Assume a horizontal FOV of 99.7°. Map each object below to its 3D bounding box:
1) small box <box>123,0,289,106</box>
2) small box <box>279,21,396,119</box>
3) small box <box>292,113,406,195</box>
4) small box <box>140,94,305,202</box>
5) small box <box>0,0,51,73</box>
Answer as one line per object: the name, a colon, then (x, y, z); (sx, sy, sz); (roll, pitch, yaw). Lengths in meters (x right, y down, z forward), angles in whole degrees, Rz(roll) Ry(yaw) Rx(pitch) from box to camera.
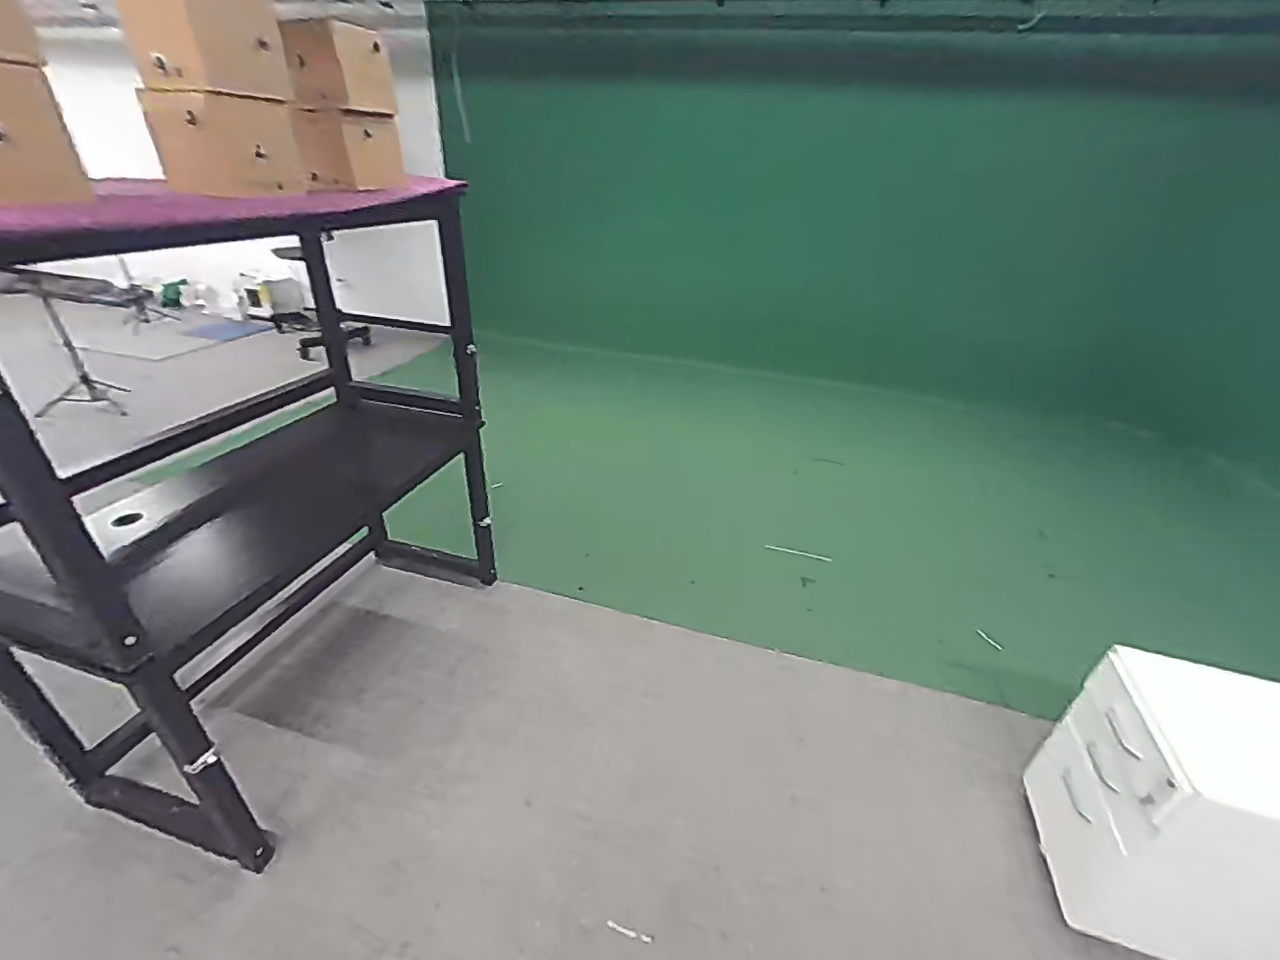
small box: (-0.778, -0.784, 0.983); (0.168, 0.176, 0.179); (11, 32, 15)
small box: (-0.707, -0.955, 1.278); (0.168, 0.176, 0.179); (10, 32, 15)
small box: (-0.724, -0.818, 1.366); (0.168, 0.176, 0.179); (13, 32, 19)
small box: (-0.801, -0.641, 1.058); (0.179, 0.176, 0.168); (12, 30, 15)
small box: (-0.882, -0.592, 0.636); (0.168, 0.176, 0.179); (13, 32, 14)
